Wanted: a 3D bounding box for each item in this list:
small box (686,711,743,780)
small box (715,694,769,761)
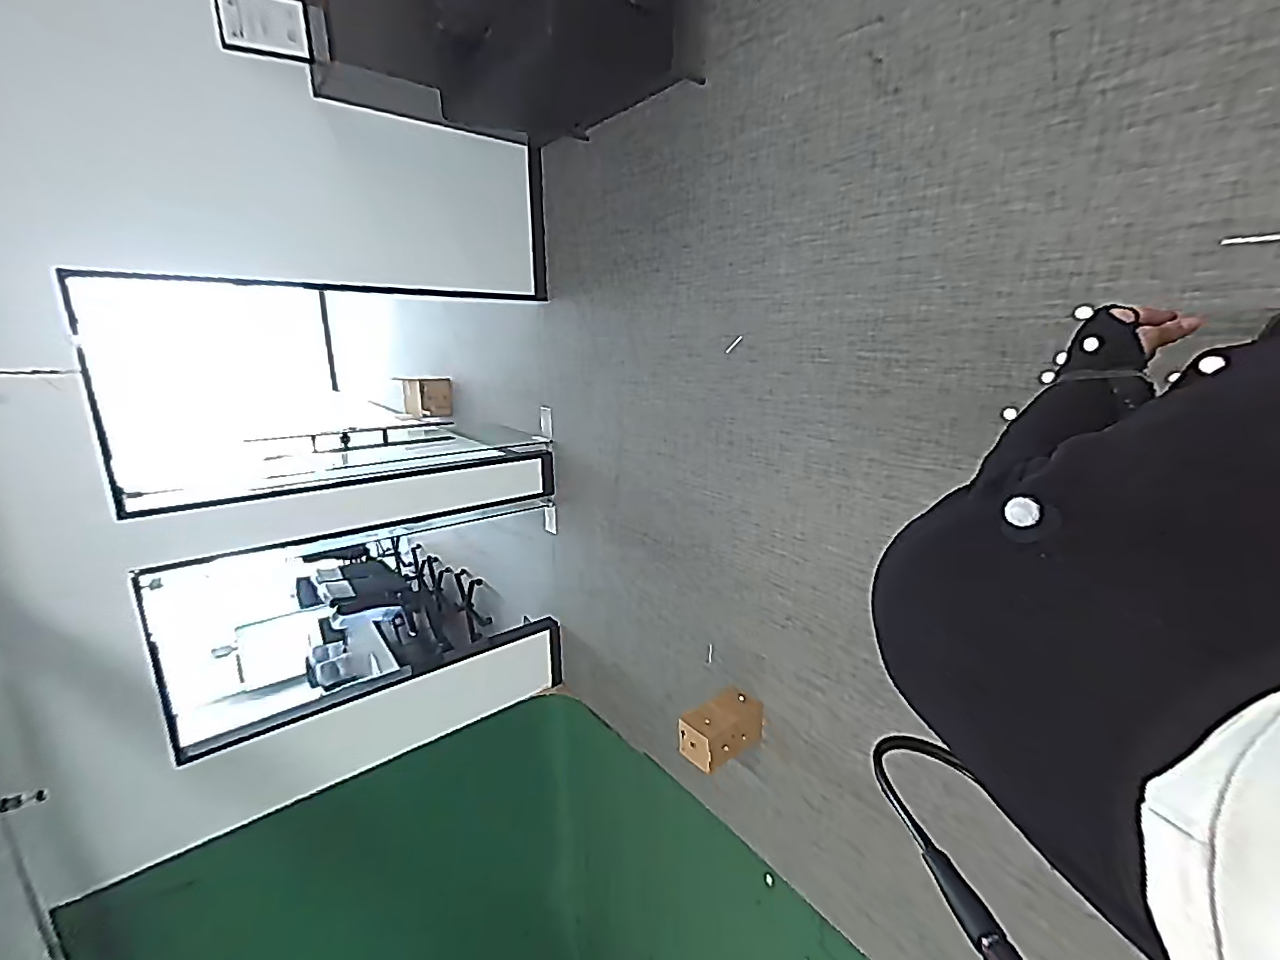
[{"bbox_3d":[0.311,1.091,2.242,0.179,0.176,0.168,12,107,50],"label":"small box"},{"bbox_3d":[0.440,1.064,2.339,0.168,0.176,0.179,16,110,50],"label":"small box"}]
